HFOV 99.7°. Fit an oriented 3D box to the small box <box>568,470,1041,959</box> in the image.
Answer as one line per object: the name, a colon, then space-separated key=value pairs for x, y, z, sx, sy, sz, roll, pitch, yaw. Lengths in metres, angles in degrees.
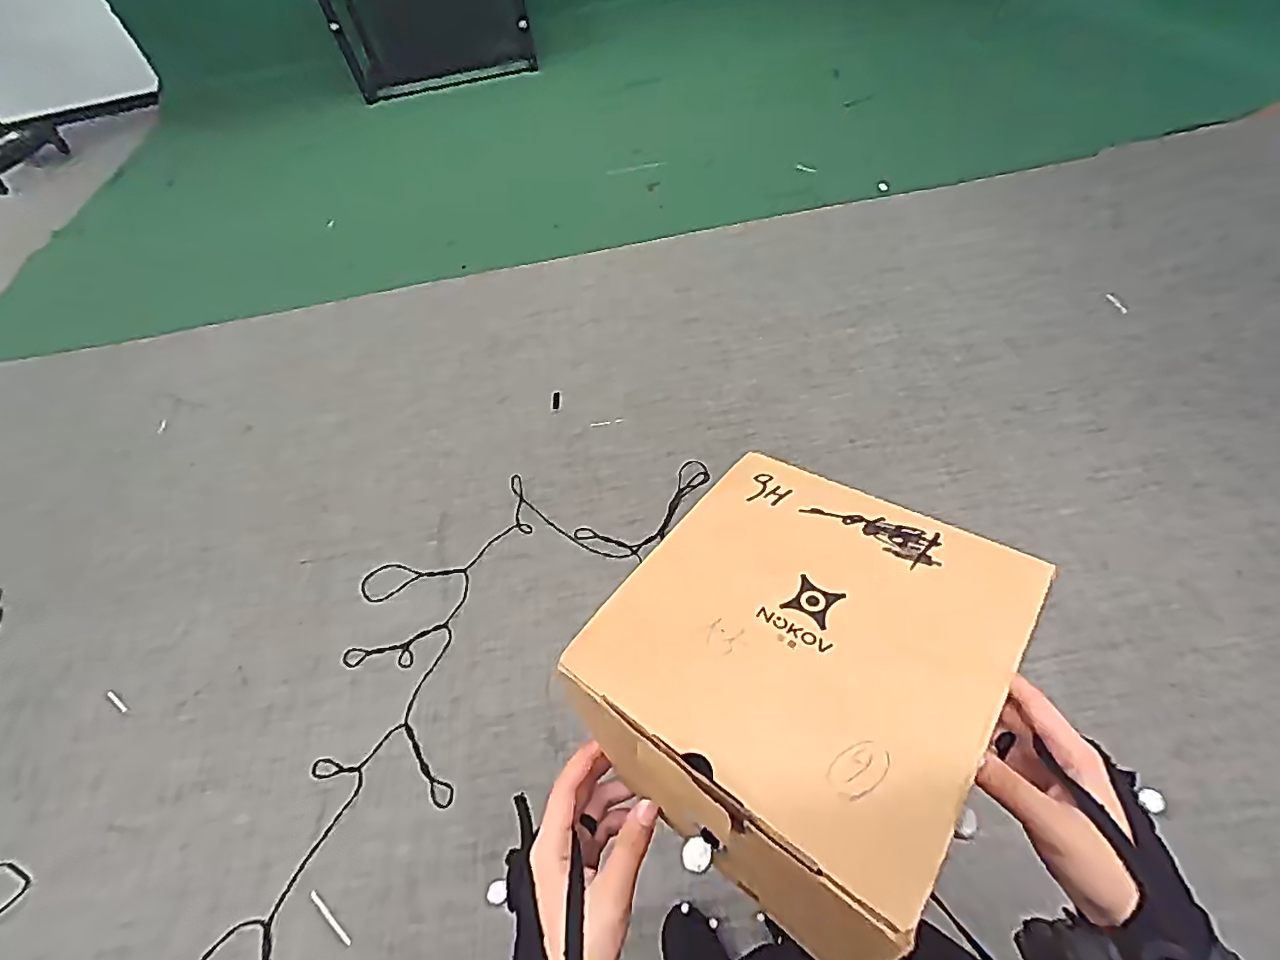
small box: x=0.091 y=0.131 z=0.316 sx=0.168 sy=0.176 sz=0.179 roll=25 pitch=55 yaw=33
